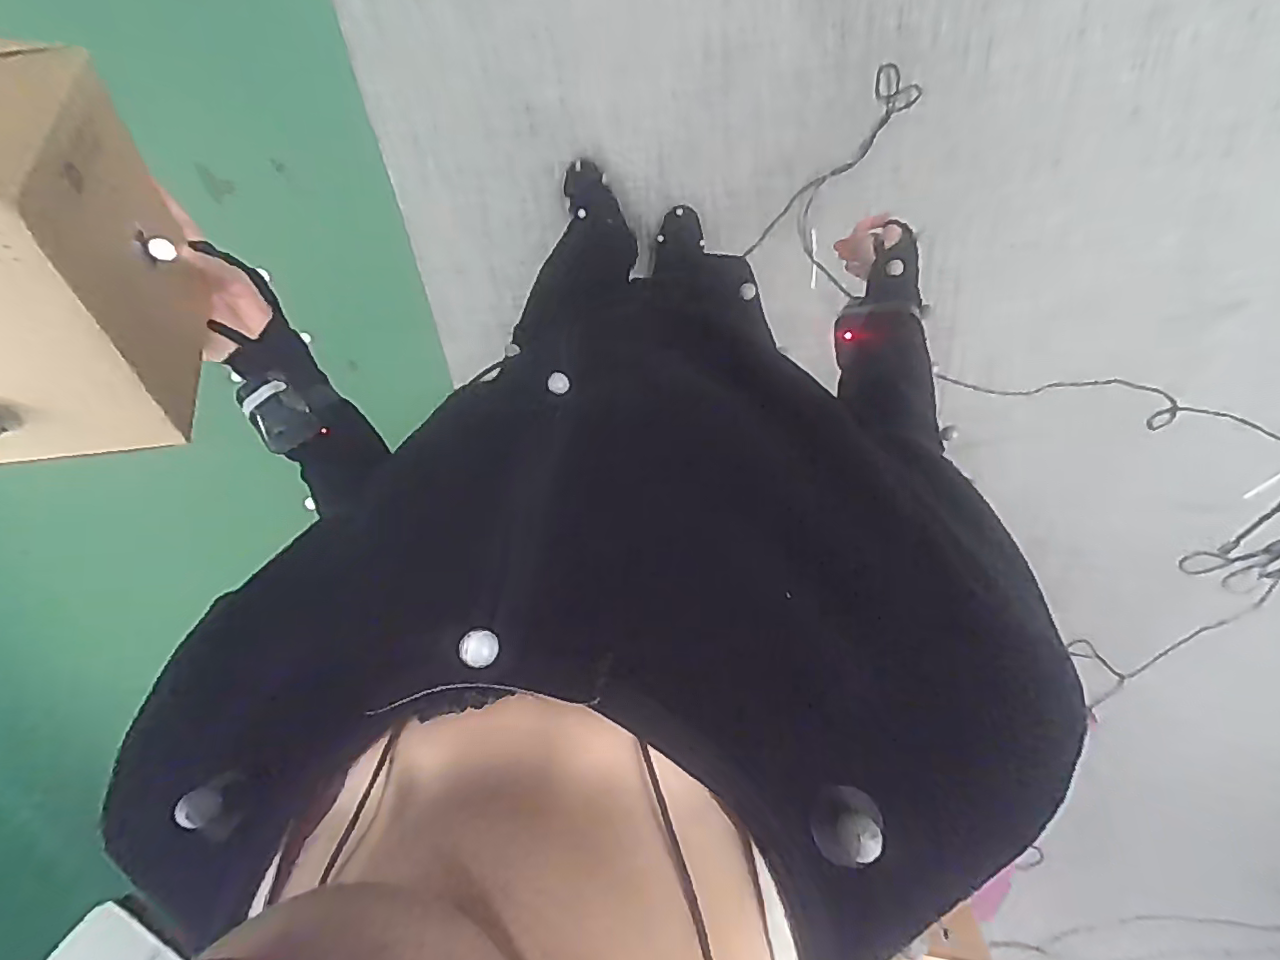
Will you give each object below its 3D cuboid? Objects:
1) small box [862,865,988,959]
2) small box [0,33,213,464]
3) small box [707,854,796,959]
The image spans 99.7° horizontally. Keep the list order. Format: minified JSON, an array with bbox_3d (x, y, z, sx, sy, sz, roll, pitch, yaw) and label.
[{"bbox_3d":[0.616,0.985,1.187,0.179,0.176,0.168,8,118,2],"label":"small box"},{"bbox_3d":[-0.377,-0.124,0.298,0.179,0.168,0.176,-10,147,-21],"label":"small box"},{"bbox_3d":[0.247,0.977,1.220,0.179,0.176,0.168,-4,116,7],"label":"small box"}]
